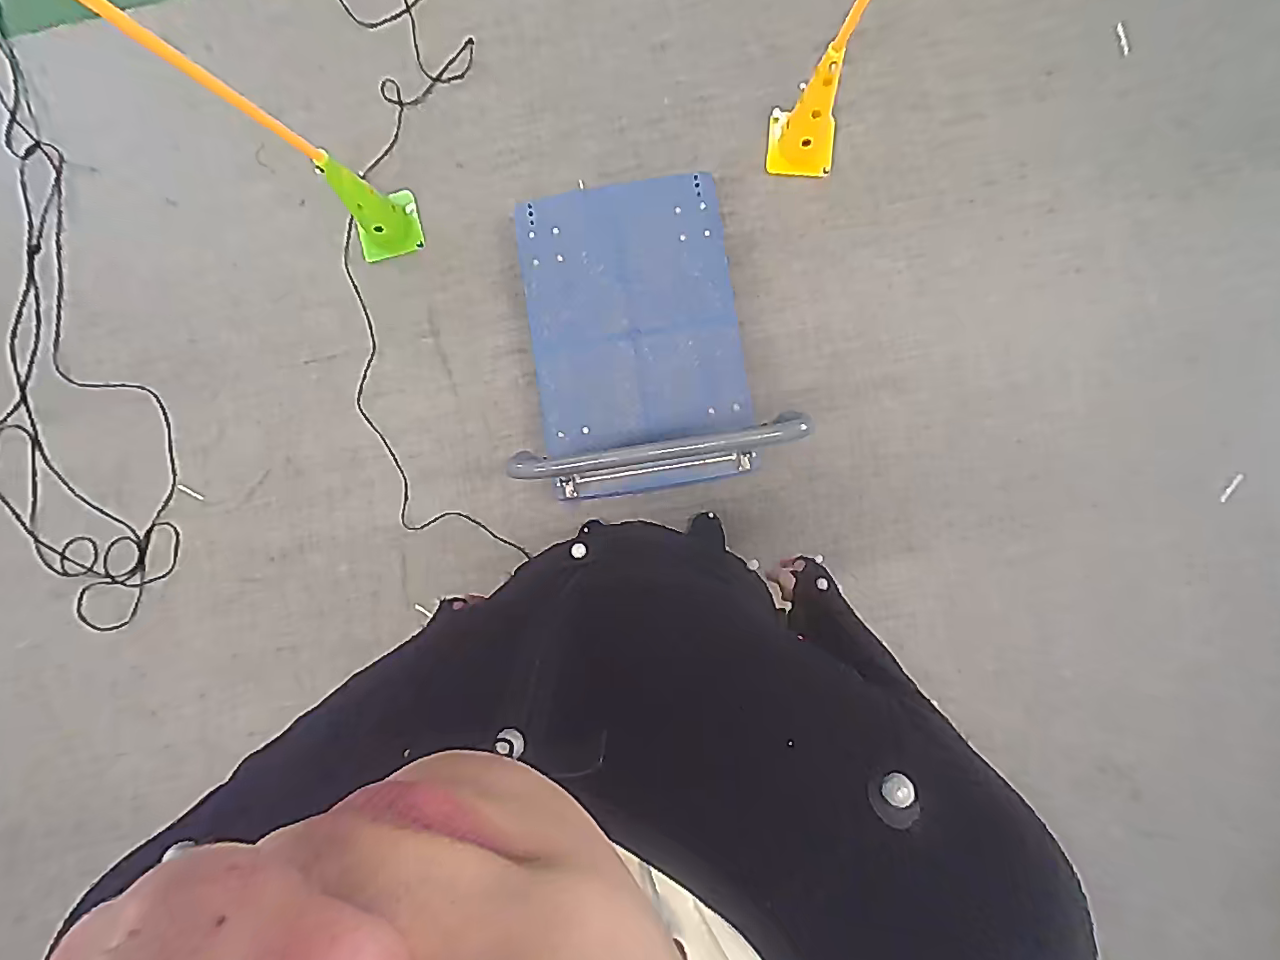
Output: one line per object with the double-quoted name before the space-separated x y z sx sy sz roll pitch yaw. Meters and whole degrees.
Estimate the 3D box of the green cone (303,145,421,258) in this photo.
"green cone" -0.824 -0.833 1.554 0.202 0.368 0.200 -16 86 3
